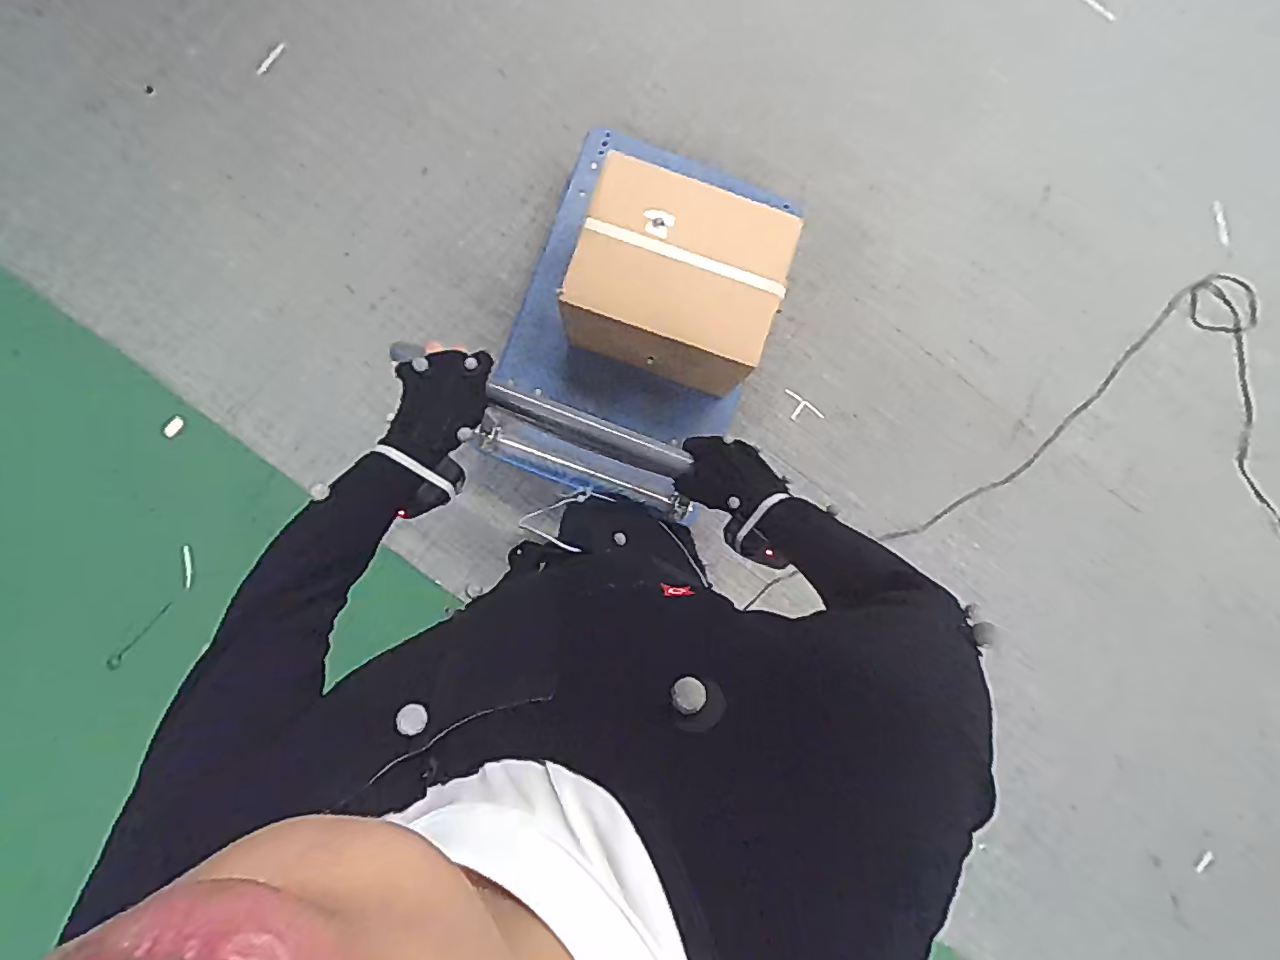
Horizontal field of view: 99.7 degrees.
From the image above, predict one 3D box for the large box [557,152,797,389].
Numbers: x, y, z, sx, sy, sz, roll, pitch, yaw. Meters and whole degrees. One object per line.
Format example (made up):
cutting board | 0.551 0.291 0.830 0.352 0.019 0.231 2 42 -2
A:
large box | 0.070 -0.428 1.192 0.408 0.320 0.320 19 87 -2
